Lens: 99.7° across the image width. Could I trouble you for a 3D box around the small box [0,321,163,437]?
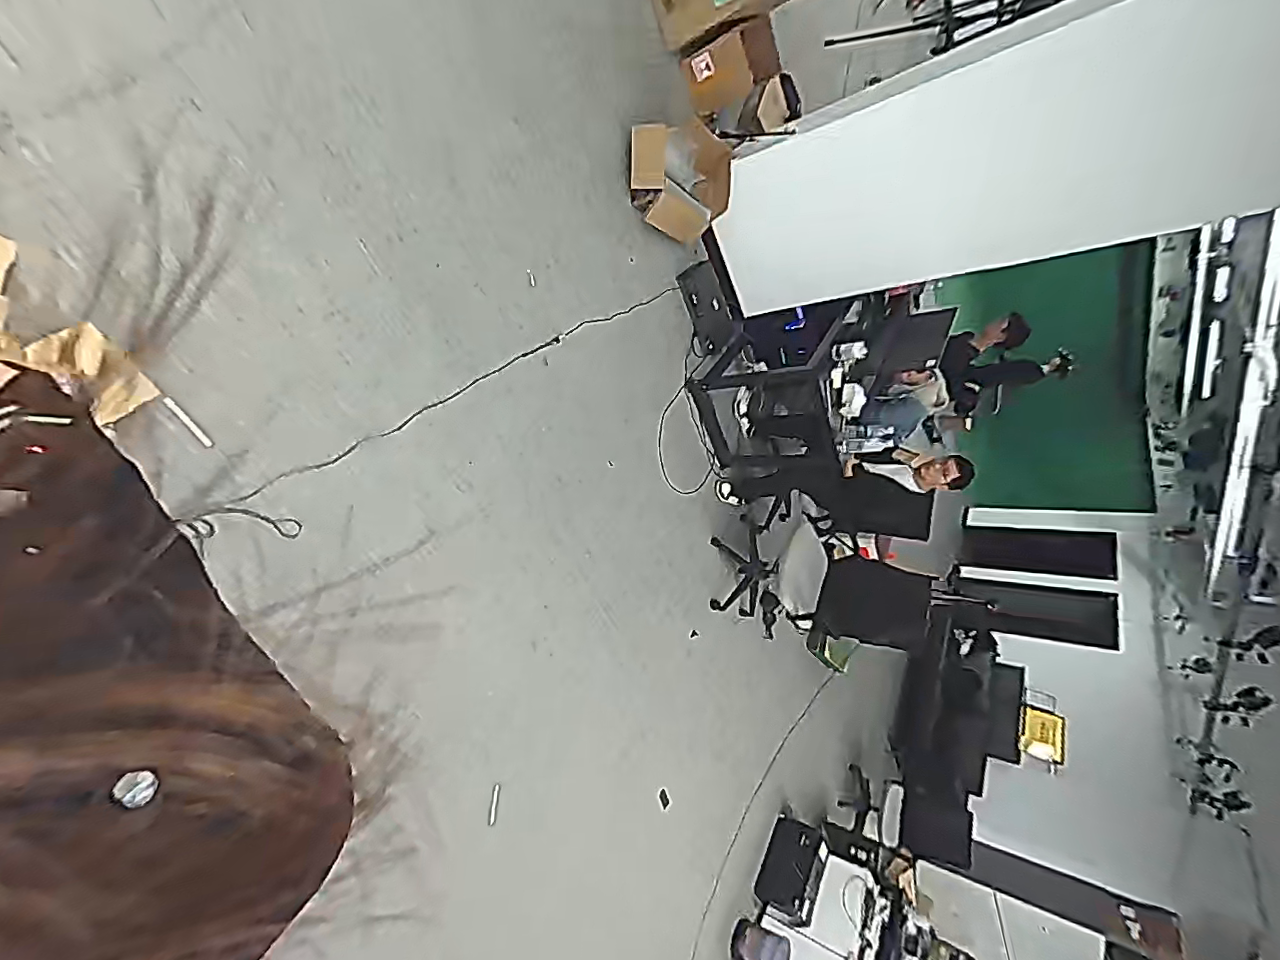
[{"bbox_3d":[-1.153,-0.200,1.113,0.168,0.176,0.179,-52,129,-36],"label":"small box"}]
